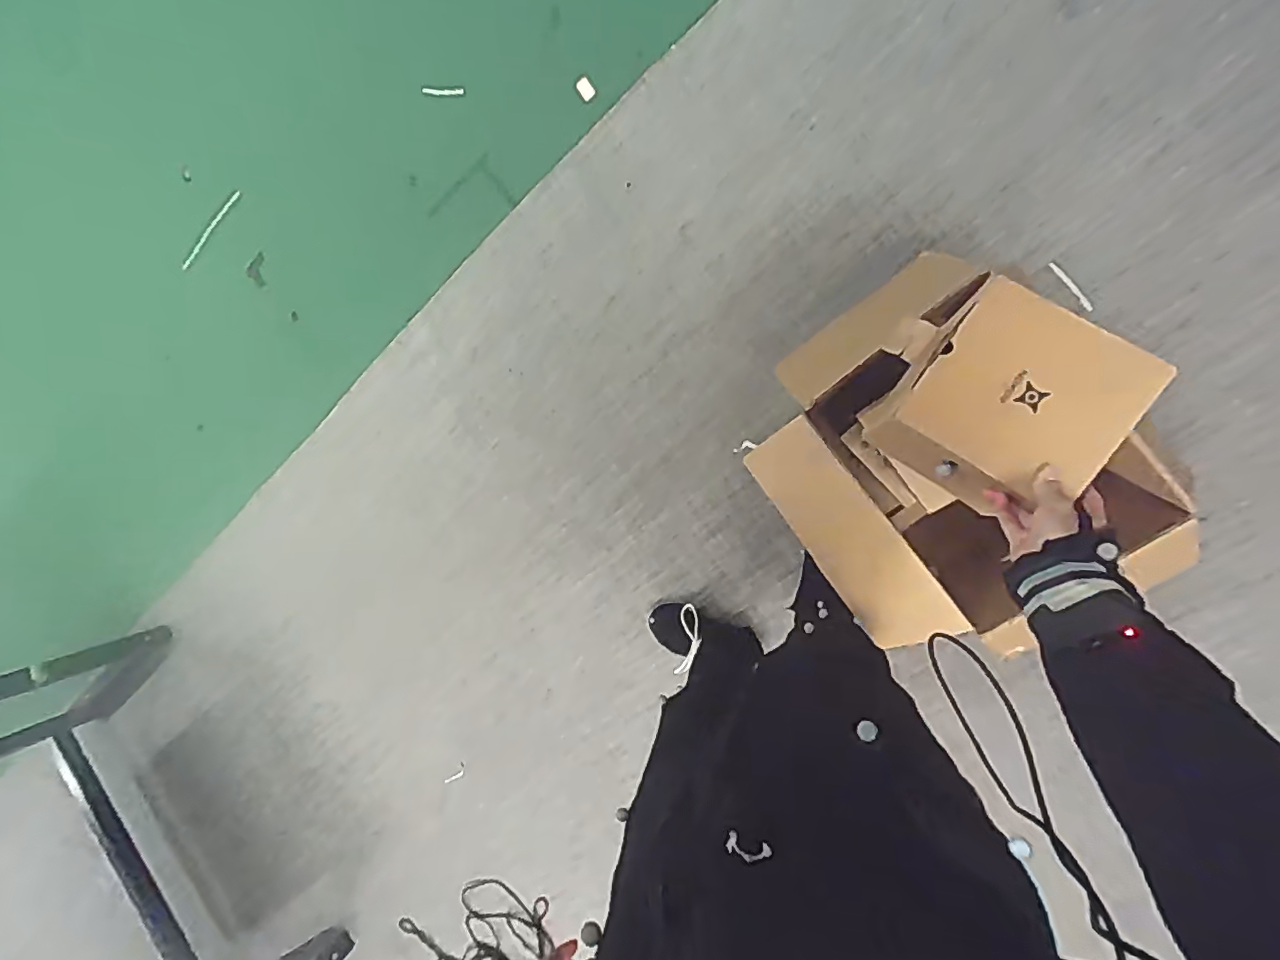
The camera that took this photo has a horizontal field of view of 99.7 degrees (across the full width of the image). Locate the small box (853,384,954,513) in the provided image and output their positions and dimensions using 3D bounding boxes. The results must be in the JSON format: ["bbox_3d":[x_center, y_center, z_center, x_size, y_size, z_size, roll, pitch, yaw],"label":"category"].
[{"bbox_3d":[0.439,-0.078,0.801,0.179,0.176,0.168,-35,87,20],"label":"small box"}]

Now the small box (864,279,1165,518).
[{"bbox_3d":[0.376,-0.076,0.585,0.179,0.176,0.168,37,95,12],"label":"small box"}]
